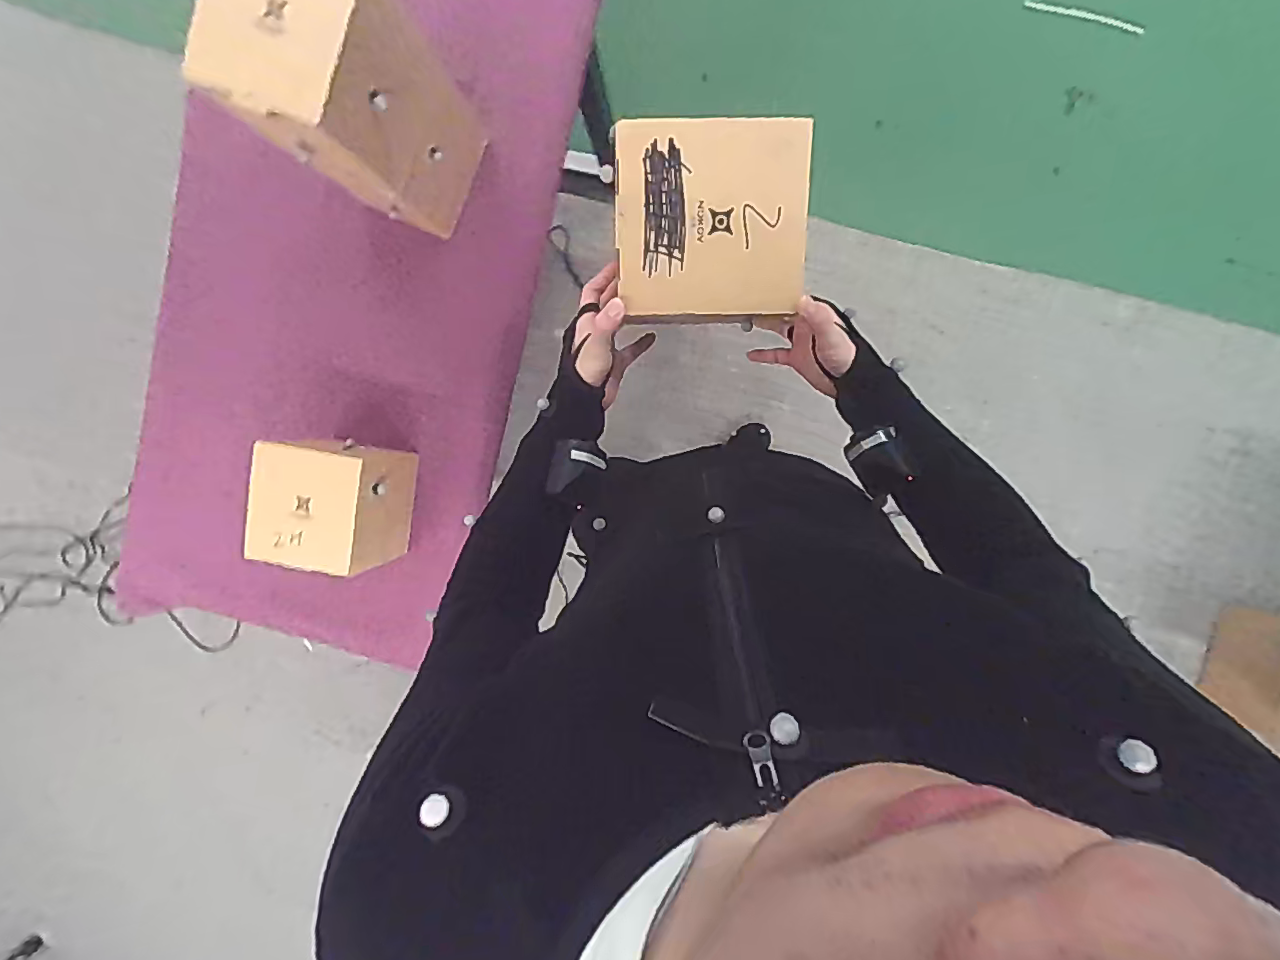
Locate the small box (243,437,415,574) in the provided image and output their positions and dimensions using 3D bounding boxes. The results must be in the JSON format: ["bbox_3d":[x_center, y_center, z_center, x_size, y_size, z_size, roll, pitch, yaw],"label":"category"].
[{"bbox_3d":[-0.477,0.029,0.852,0.168,0.176,0.179,10,97,4],"label":"small box"}]

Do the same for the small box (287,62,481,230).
[{"bbox_3d":[-0.358,-0.499,0.788,0.168,0.176,0.179,25,97,2],"label":"small box"}]

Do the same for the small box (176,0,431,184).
[{"bbox_3d":[-0.370,-0.481,0.626,0.168,0.176,0.179,22,98,1],"label":"small box"}]
